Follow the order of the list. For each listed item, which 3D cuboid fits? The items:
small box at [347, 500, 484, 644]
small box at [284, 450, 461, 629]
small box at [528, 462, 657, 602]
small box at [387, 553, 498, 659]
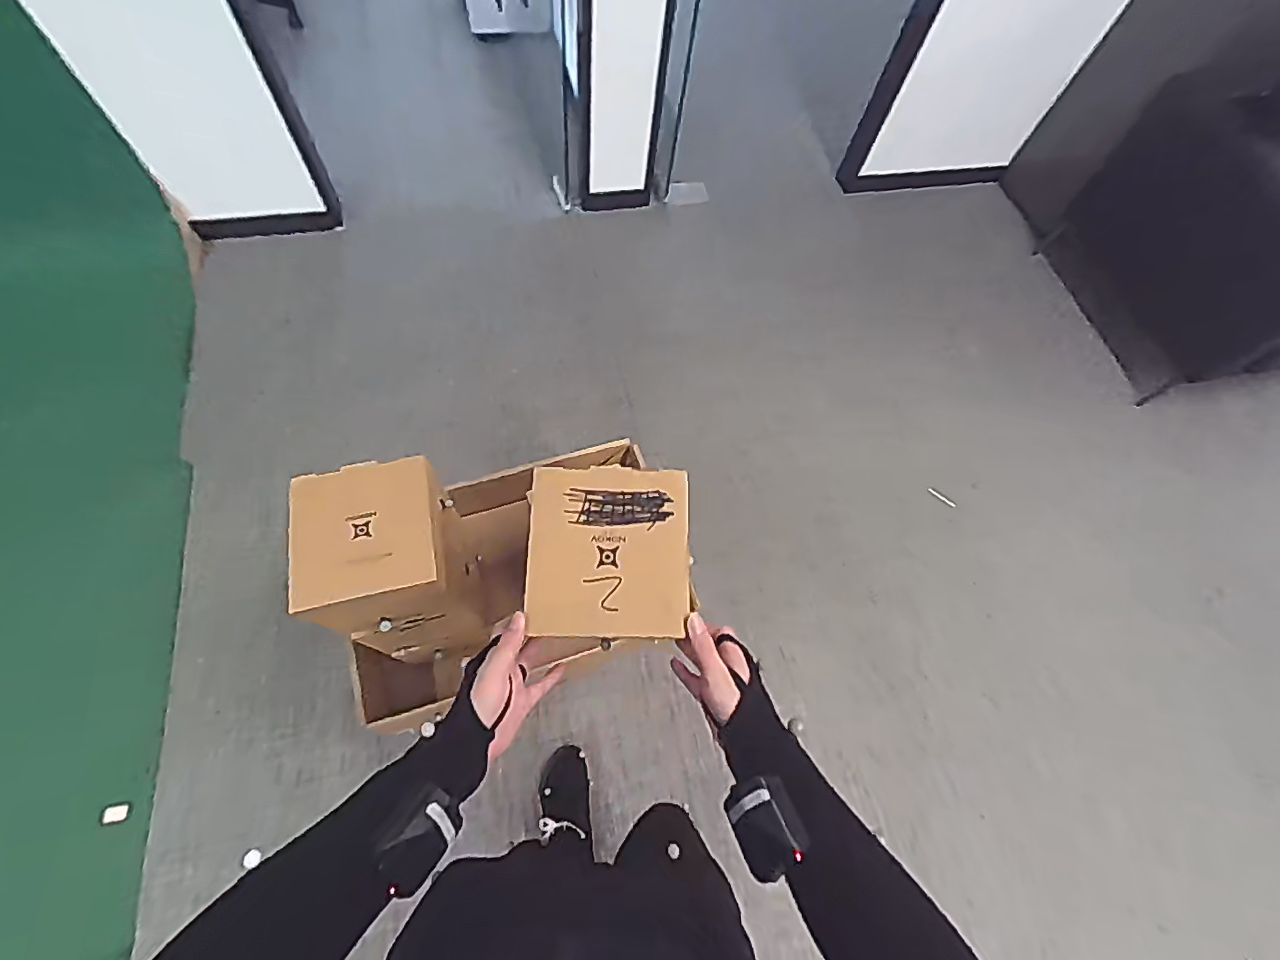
[{"bbox_3d":[-0.355,0.156,0.867,0.168,0.176,0.179,-11,66,-12],"label":"small box"},{"bbox_3d":[-0.344,0.084,0.721,0.168,0.176,0.179,-10,67,-10],"label":"small box"},{"bbox_3d":[-0.084,0.098,0.923,0.168,0.176,0.179,-17,69,-15],"label":"small box"},{"bbox_3d":[-0.374,0.226,1.015,0.168,0.176,0.179,-16,67,-12],"label":"small box"}]
